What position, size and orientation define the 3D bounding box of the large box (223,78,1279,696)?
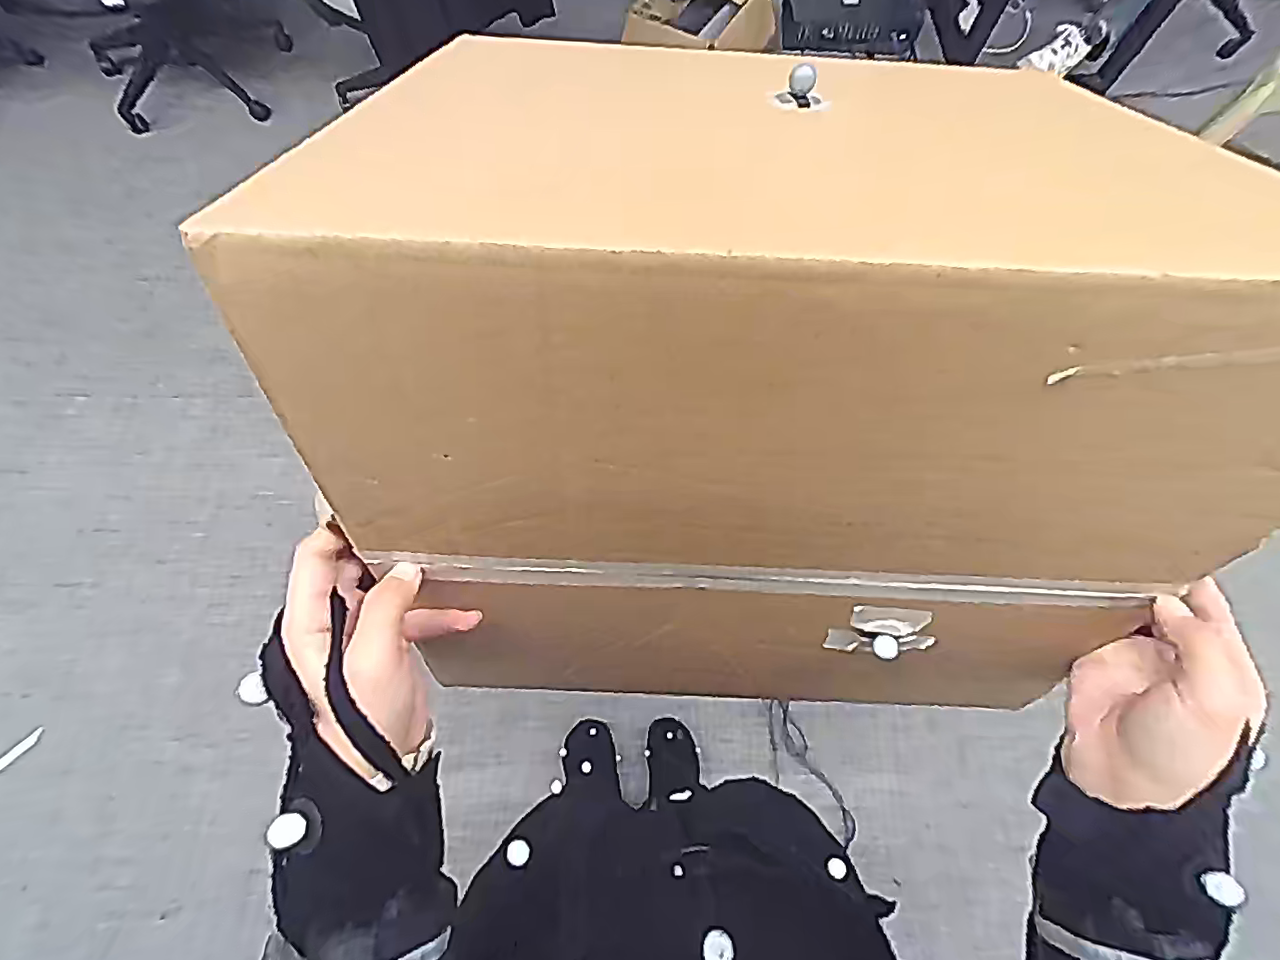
[{"bbox_3d":[0.063,-0.062,0.377,0.408,0.320,0.320,1,48,-1],"label":"large box"}]
